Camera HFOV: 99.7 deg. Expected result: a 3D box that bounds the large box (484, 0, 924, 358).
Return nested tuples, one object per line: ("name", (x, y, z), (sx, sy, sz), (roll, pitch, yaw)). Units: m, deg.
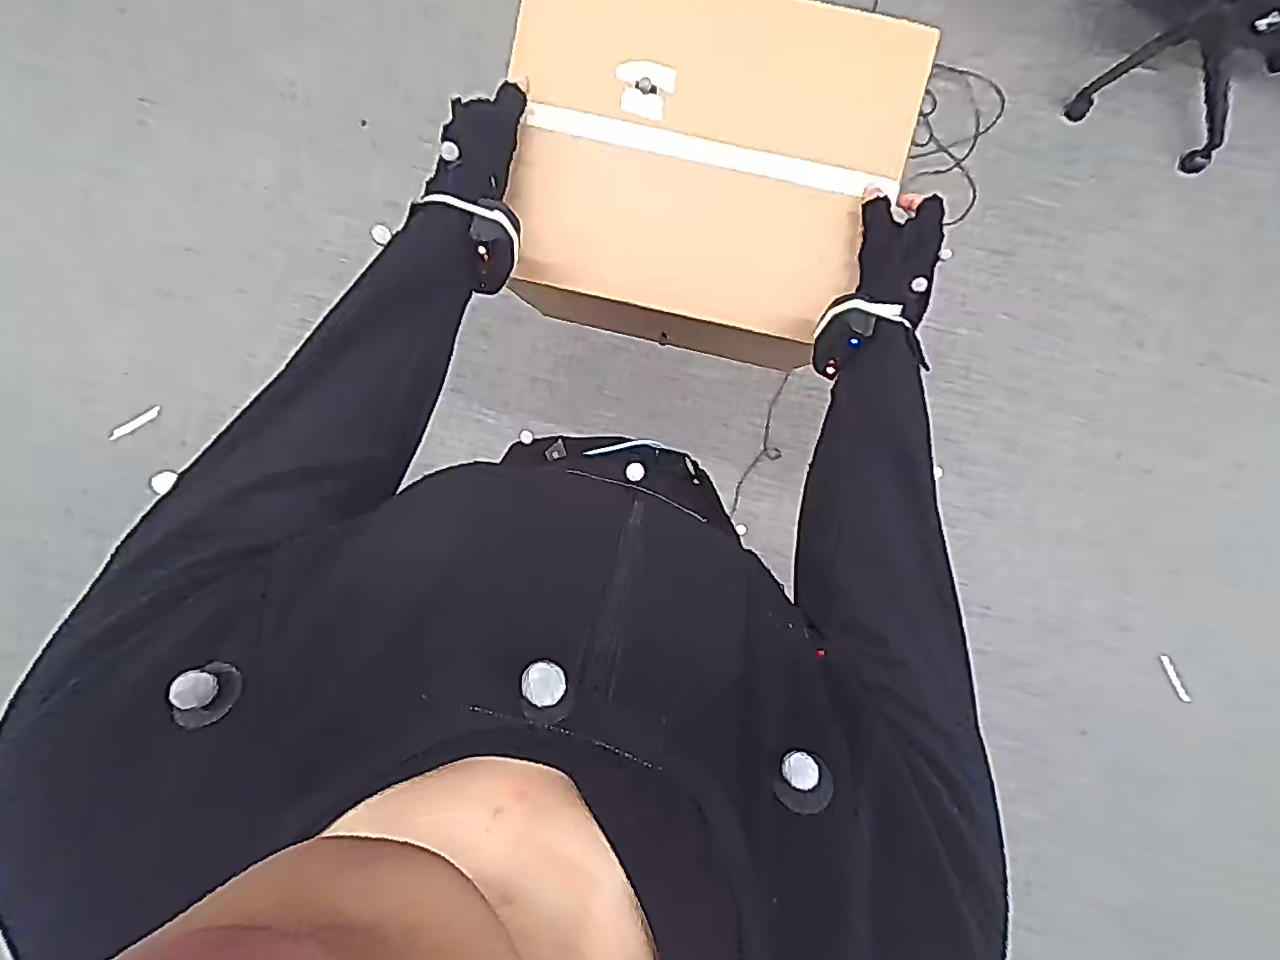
("large box", (0.064, -0.356, 0.699), (0.408, 0.320, 0.320), (13, 98, 1))
